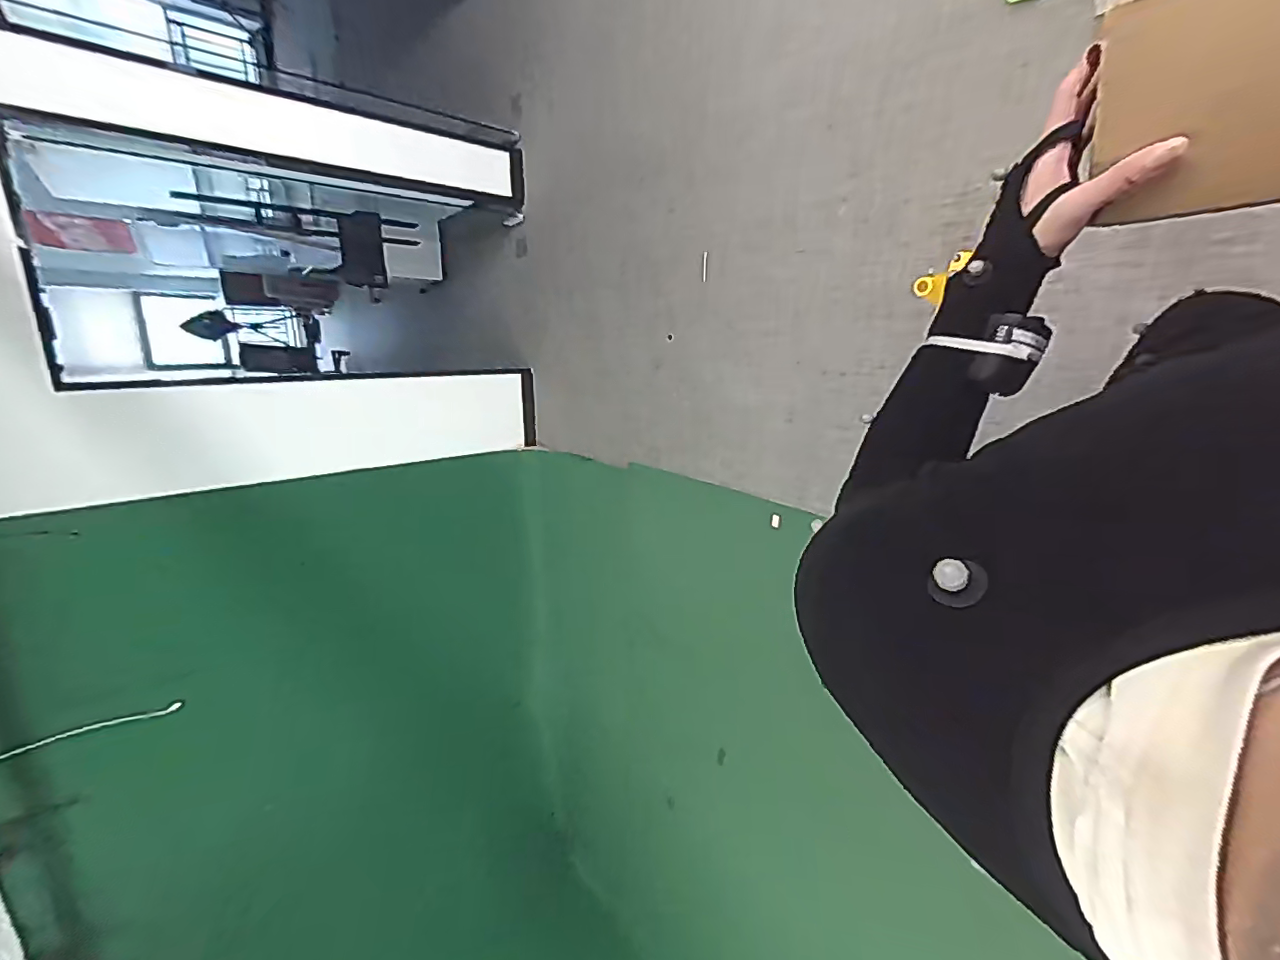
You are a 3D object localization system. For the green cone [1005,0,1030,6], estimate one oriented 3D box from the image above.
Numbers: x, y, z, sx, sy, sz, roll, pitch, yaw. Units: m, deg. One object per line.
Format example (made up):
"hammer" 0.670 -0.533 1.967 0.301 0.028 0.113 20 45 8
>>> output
"green cone" 0.811 -1.176 1.099 0.200 0.368 0.202 25 119 45
